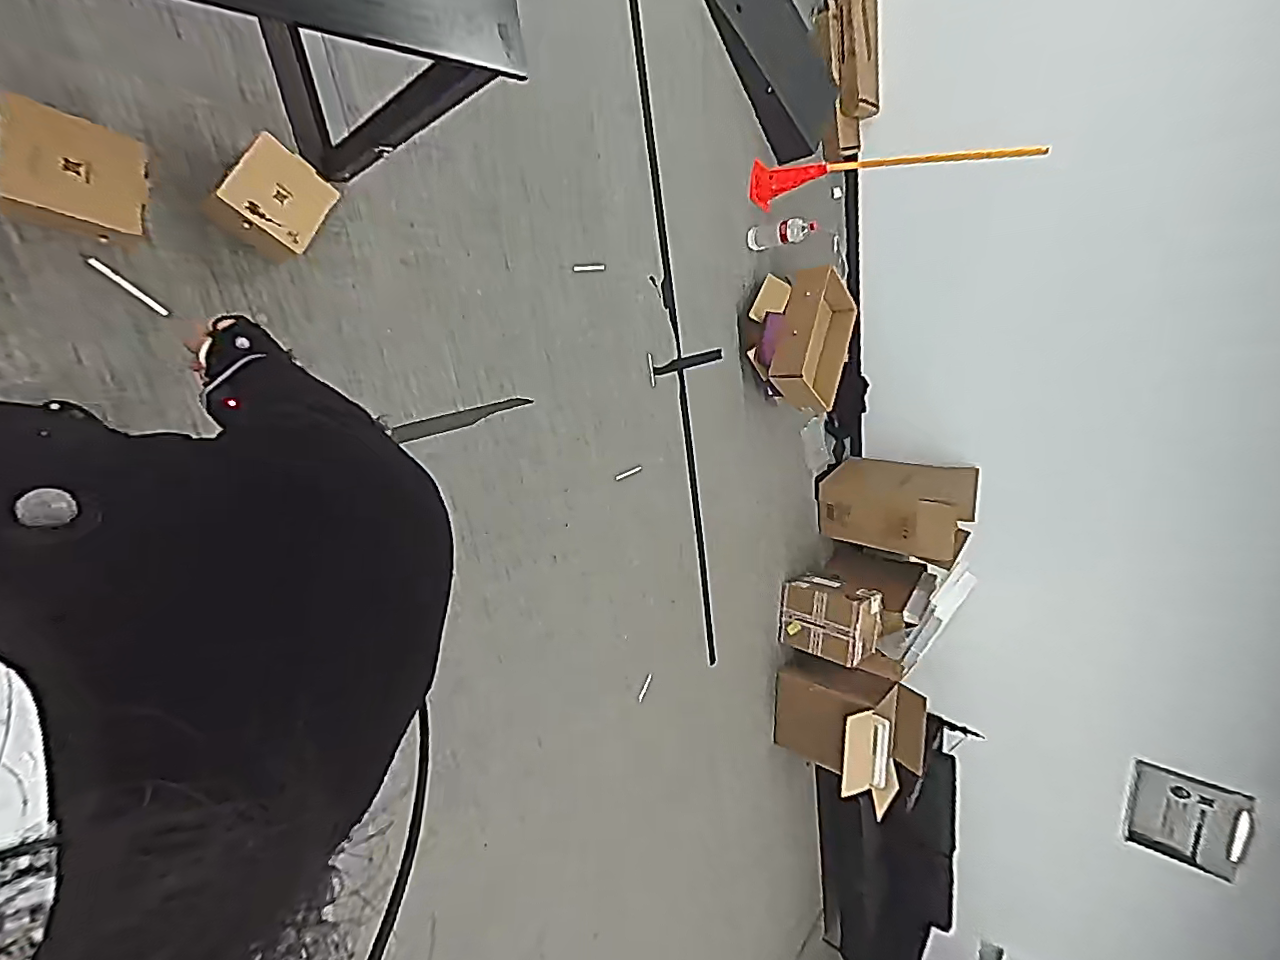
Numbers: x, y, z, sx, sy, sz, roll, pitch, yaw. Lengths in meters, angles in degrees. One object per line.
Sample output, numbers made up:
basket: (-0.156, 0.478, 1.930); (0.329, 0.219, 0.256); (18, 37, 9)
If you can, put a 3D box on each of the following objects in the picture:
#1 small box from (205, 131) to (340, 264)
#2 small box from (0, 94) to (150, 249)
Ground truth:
small box: (-0.798, -0.600, 1.169); (0.168, 0.176, 0.179); (36, 70, -45)
small box: (-1.002, -0.527, 0.958); (0.179, 0.176, 0.168); (4, 93, -47)
